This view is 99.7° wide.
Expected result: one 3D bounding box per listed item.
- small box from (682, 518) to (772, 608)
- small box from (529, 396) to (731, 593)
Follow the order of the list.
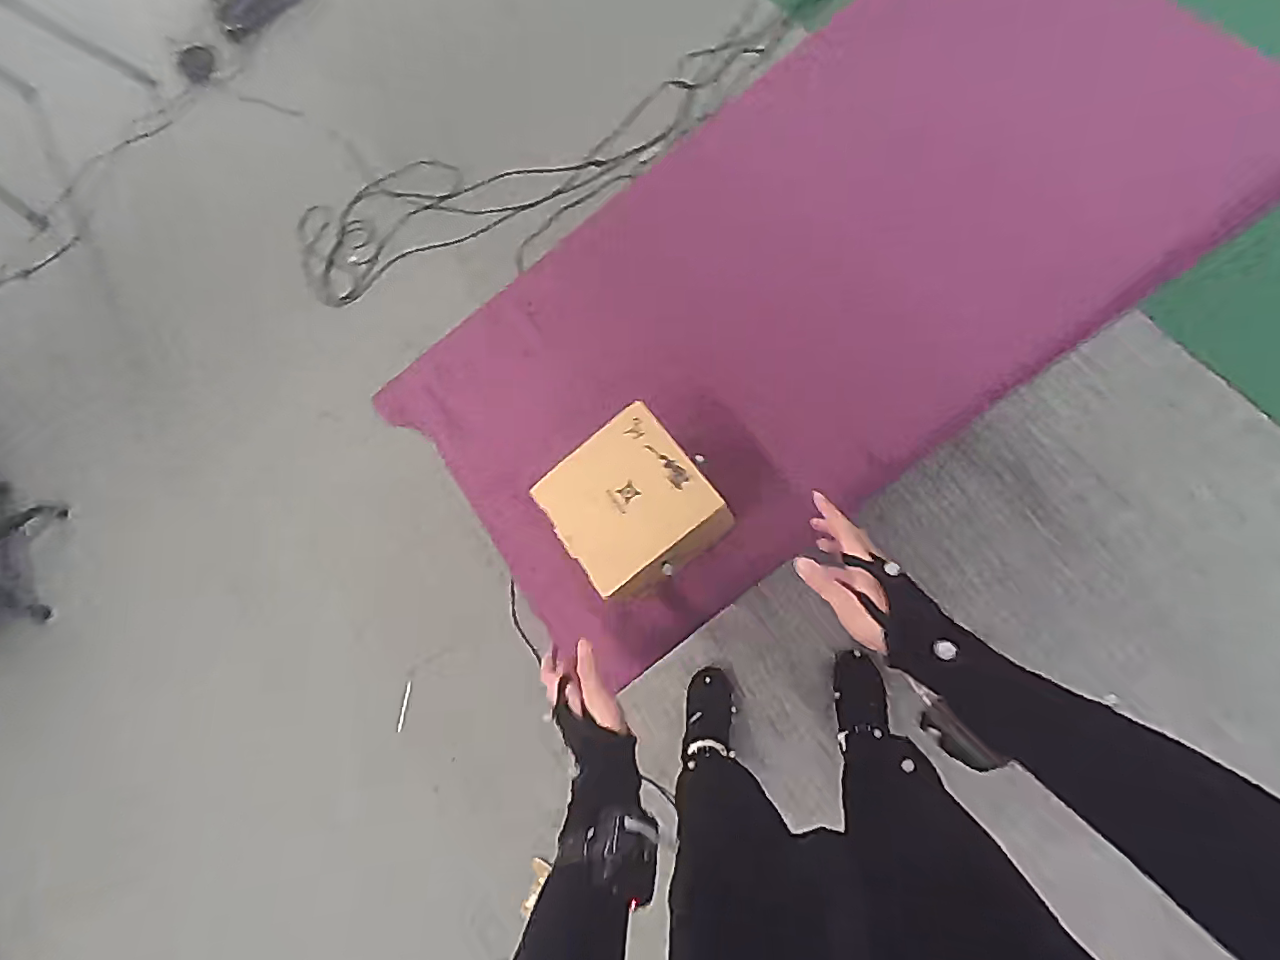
[{"bbox_3d":[0.215,0.200,1.366,0.168,0.176,0.179,-46,72,1],"label":"small box"},{"bbox_3d":[-0.002,0.031,0.688,0.179,0.176,0.168,-39,71,4],"label":"small box"}]
